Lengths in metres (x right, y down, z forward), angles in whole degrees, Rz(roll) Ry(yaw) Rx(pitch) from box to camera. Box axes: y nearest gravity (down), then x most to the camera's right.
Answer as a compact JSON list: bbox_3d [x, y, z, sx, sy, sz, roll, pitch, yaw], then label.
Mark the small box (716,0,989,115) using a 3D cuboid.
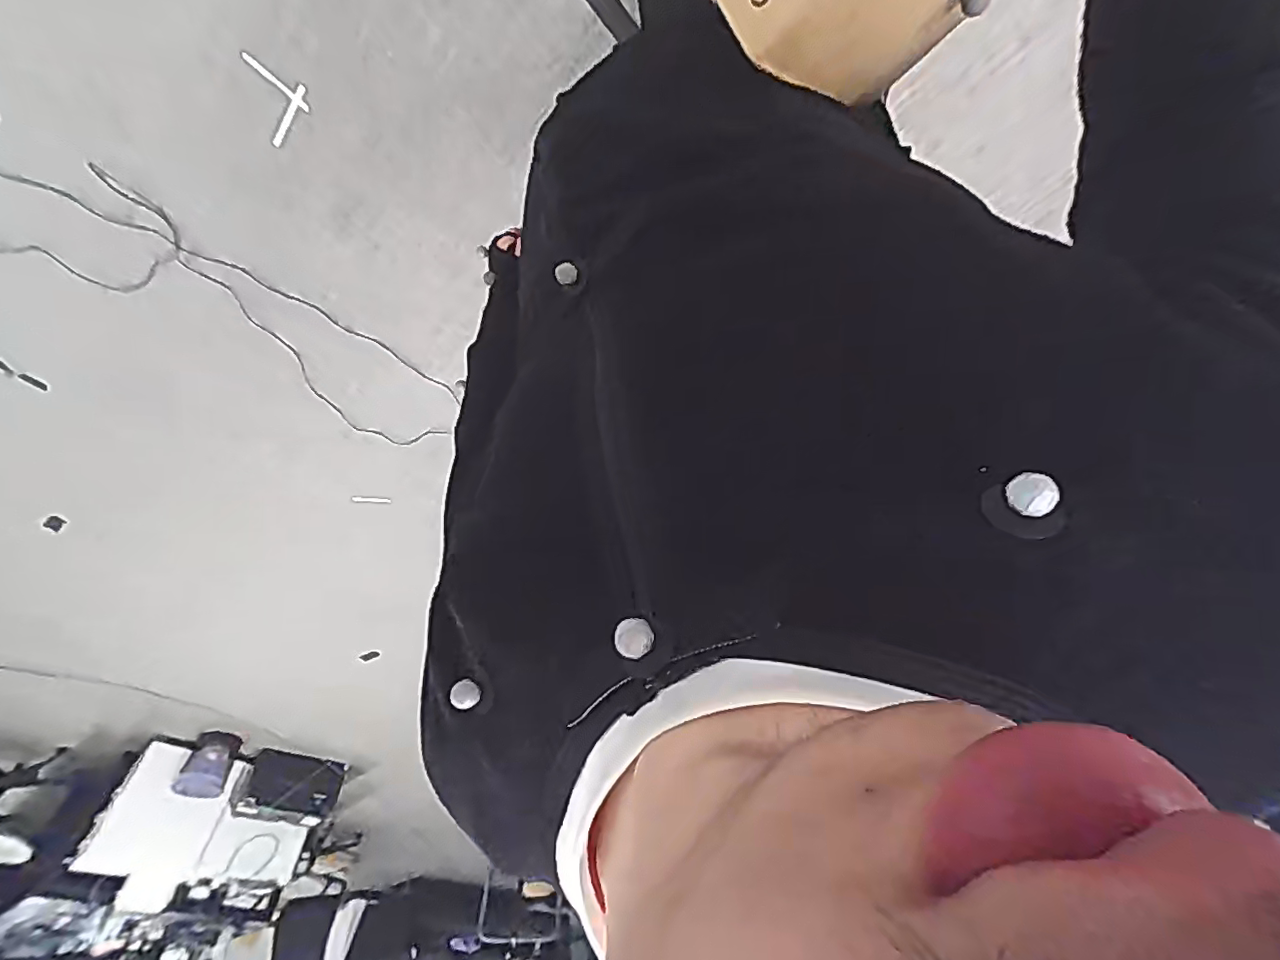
[{"bbox_3d":[0.131,-0.355,0.306,0.179,0.176,0.168,-30,87,43],"label":"small box"}]
